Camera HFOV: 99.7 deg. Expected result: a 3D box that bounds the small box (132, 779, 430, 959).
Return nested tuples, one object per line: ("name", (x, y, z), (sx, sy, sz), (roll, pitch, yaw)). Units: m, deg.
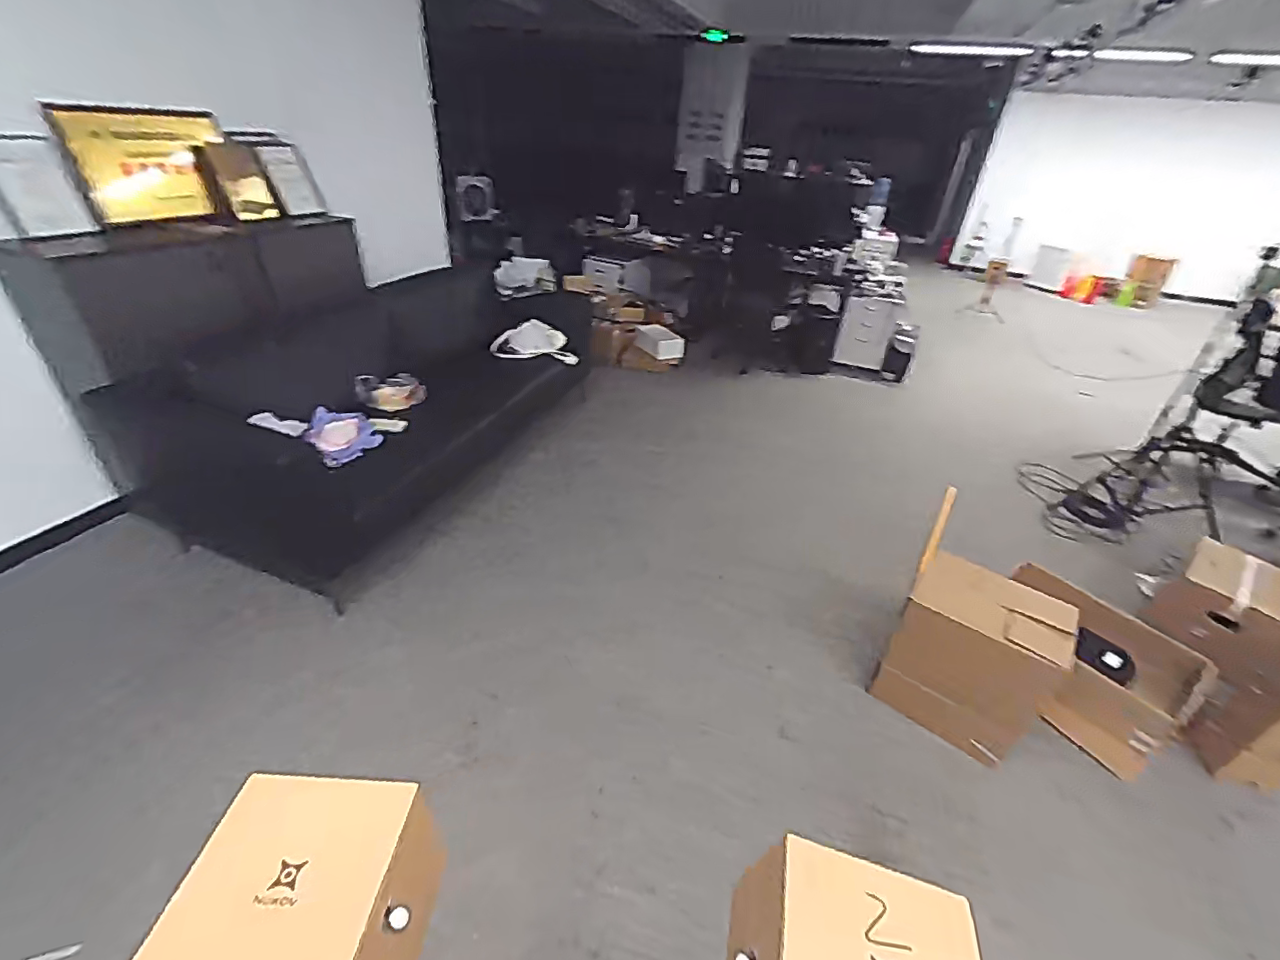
("small box", (-0.304, 0.408, 0.491), (0.168, 0.176, 0.179), (4, 33, -1))
